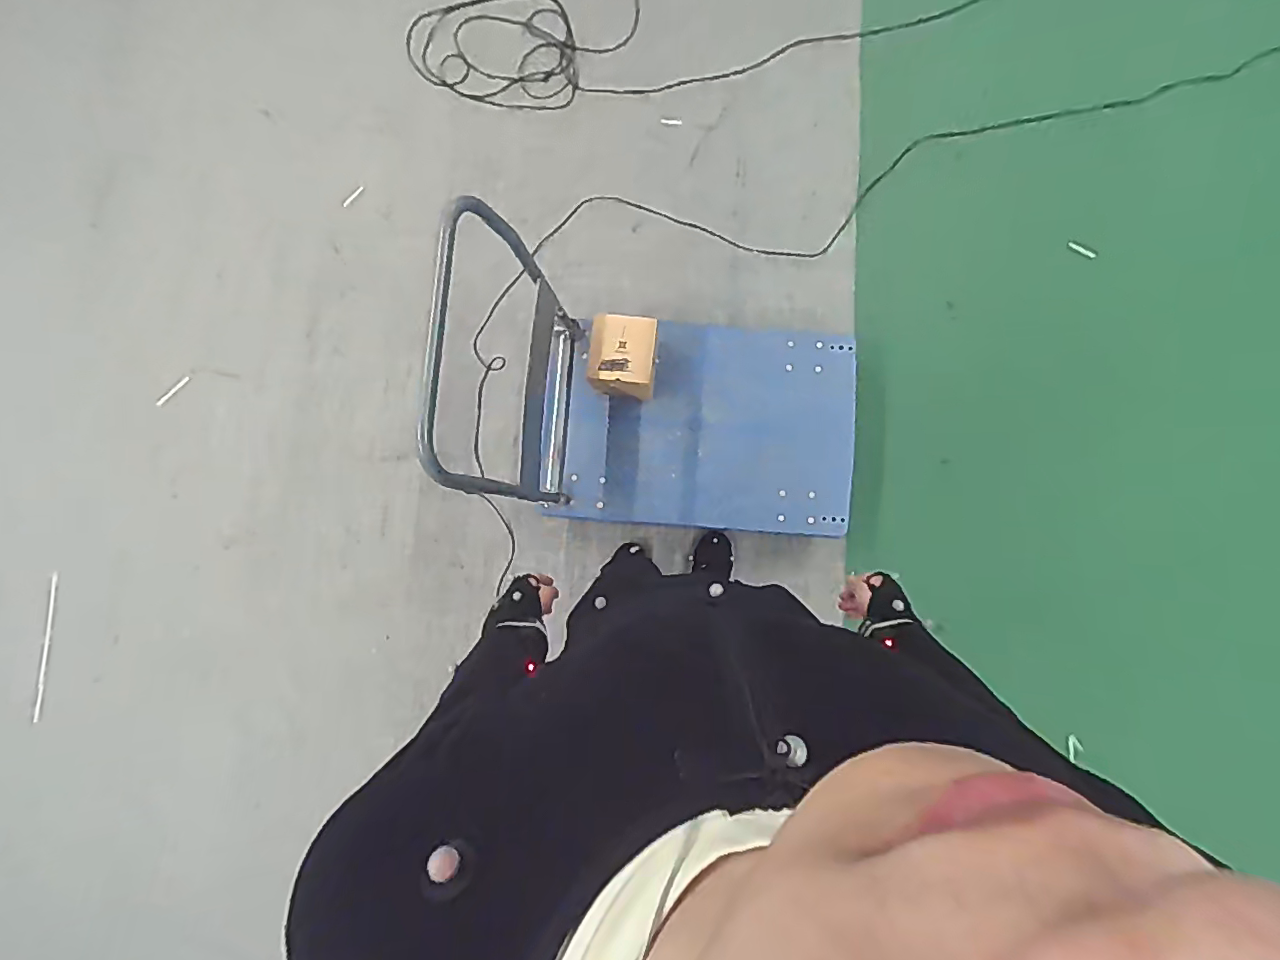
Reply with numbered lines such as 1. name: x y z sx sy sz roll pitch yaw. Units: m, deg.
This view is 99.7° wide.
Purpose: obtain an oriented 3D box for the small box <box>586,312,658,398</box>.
1. small box: -0.042 -0.325 1.444 0.168 0.176 0.179 6 85 3
